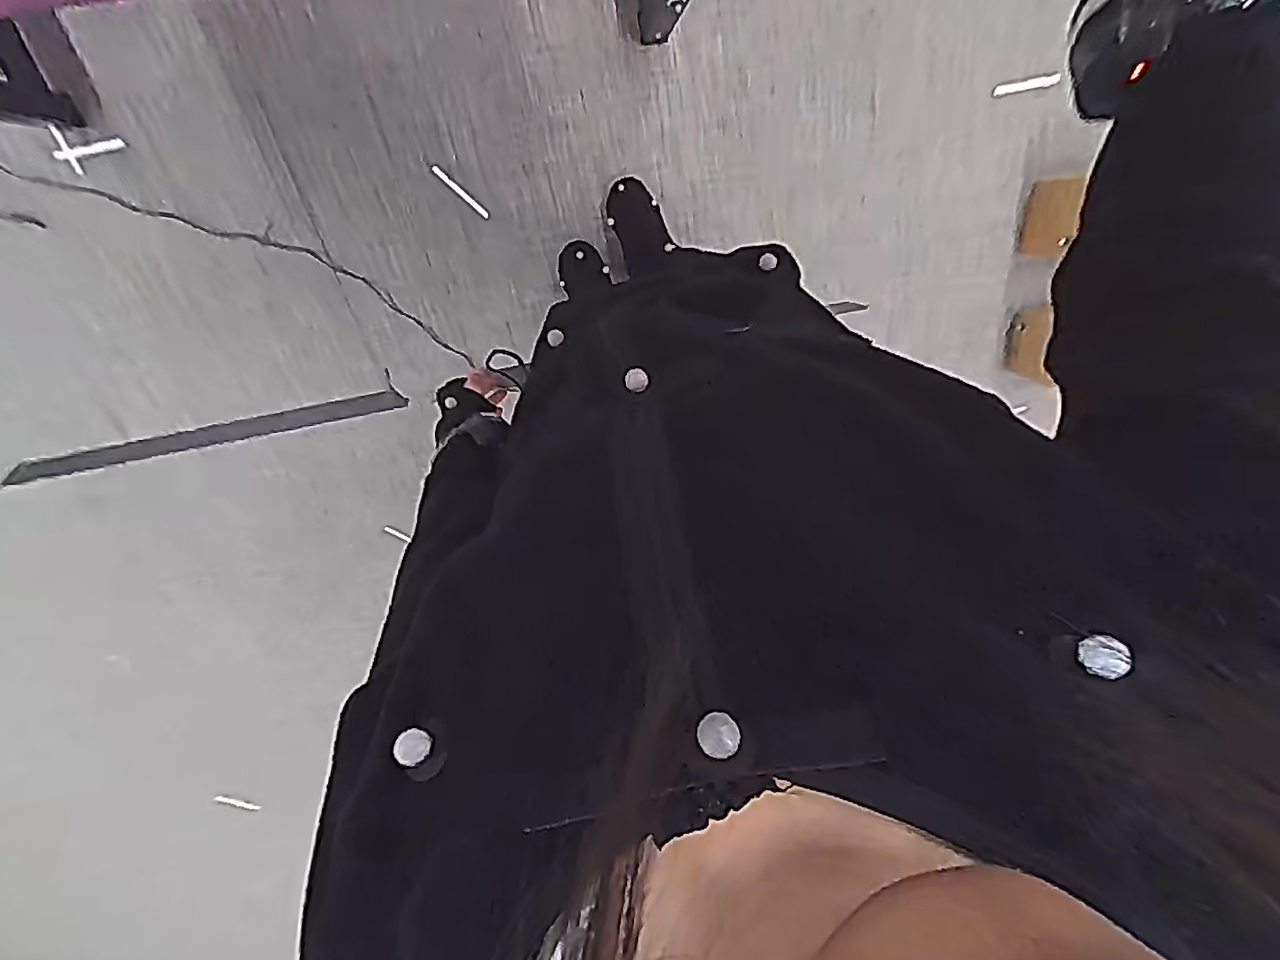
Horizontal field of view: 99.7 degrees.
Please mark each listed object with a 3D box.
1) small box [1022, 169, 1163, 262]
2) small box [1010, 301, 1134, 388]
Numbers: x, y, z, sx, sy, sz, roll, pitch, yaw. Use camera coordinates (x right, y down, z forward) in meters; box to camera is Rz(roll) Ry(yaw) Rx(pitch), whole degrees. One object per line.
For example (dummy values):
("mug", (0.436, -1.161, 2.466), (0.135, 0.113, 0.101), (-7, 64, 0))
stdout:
("small box", (1.036, -0.614, 1.258), (0.168, 0.176, 0.179), (-7, 118, -4))
("small box", (1.104, -0.354, 1.399), (0.179, 0.176, 0.168), (-13, 119, -1))
